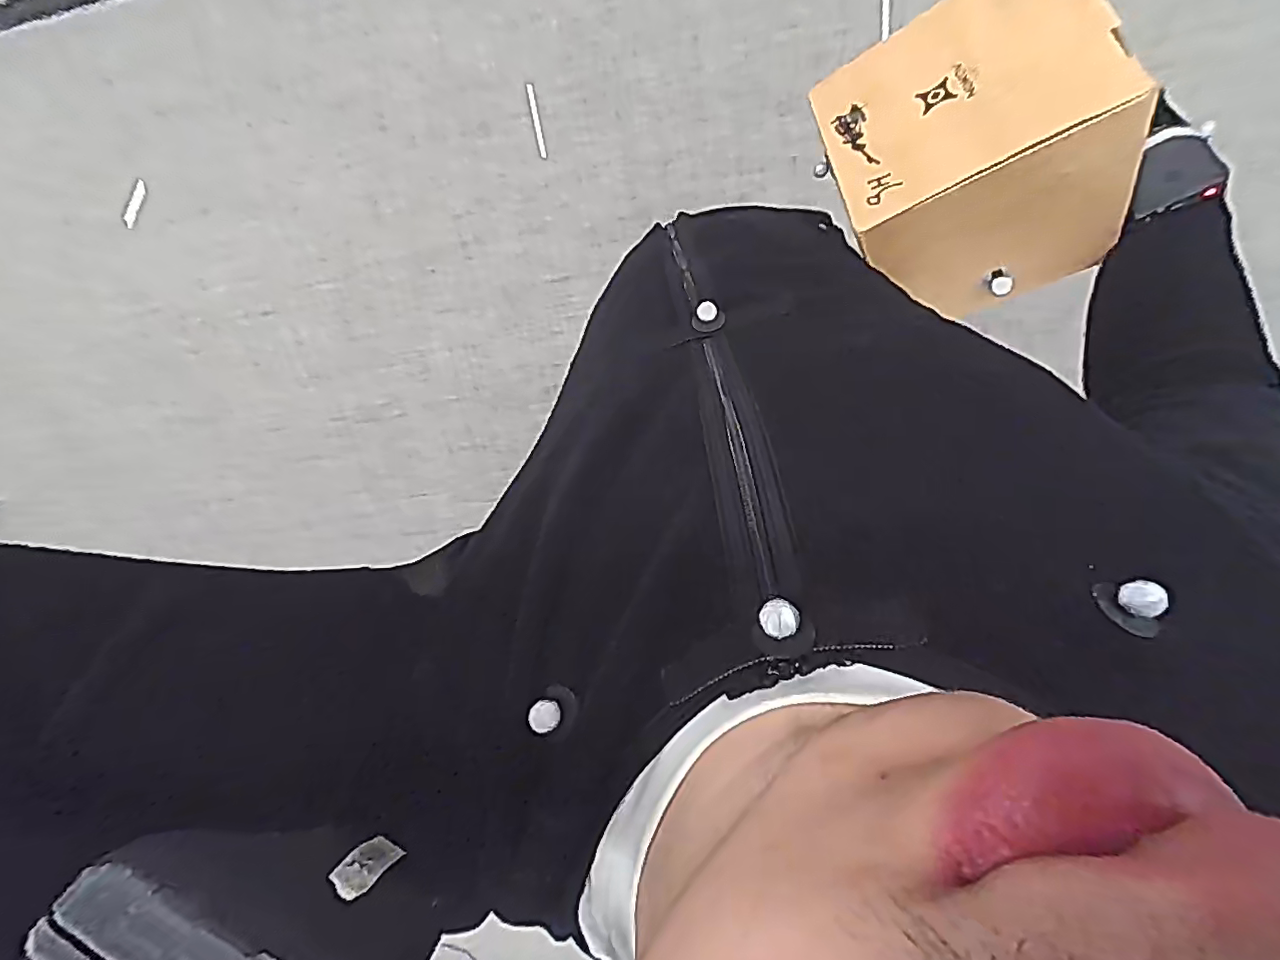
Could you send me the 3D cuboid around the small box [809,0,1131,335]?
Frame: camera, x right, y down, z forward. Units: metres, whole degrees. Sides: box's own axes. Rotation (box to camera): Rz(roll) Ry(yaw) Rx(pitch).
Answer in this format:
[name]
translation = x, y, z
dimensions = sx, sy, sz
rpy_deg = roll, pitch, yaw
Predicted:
[small box]
translation = 0.270, -0.261, 0.472
dimensions = 0.179, 0.168, 0.176
rpy_deg = -19, 153, 28
